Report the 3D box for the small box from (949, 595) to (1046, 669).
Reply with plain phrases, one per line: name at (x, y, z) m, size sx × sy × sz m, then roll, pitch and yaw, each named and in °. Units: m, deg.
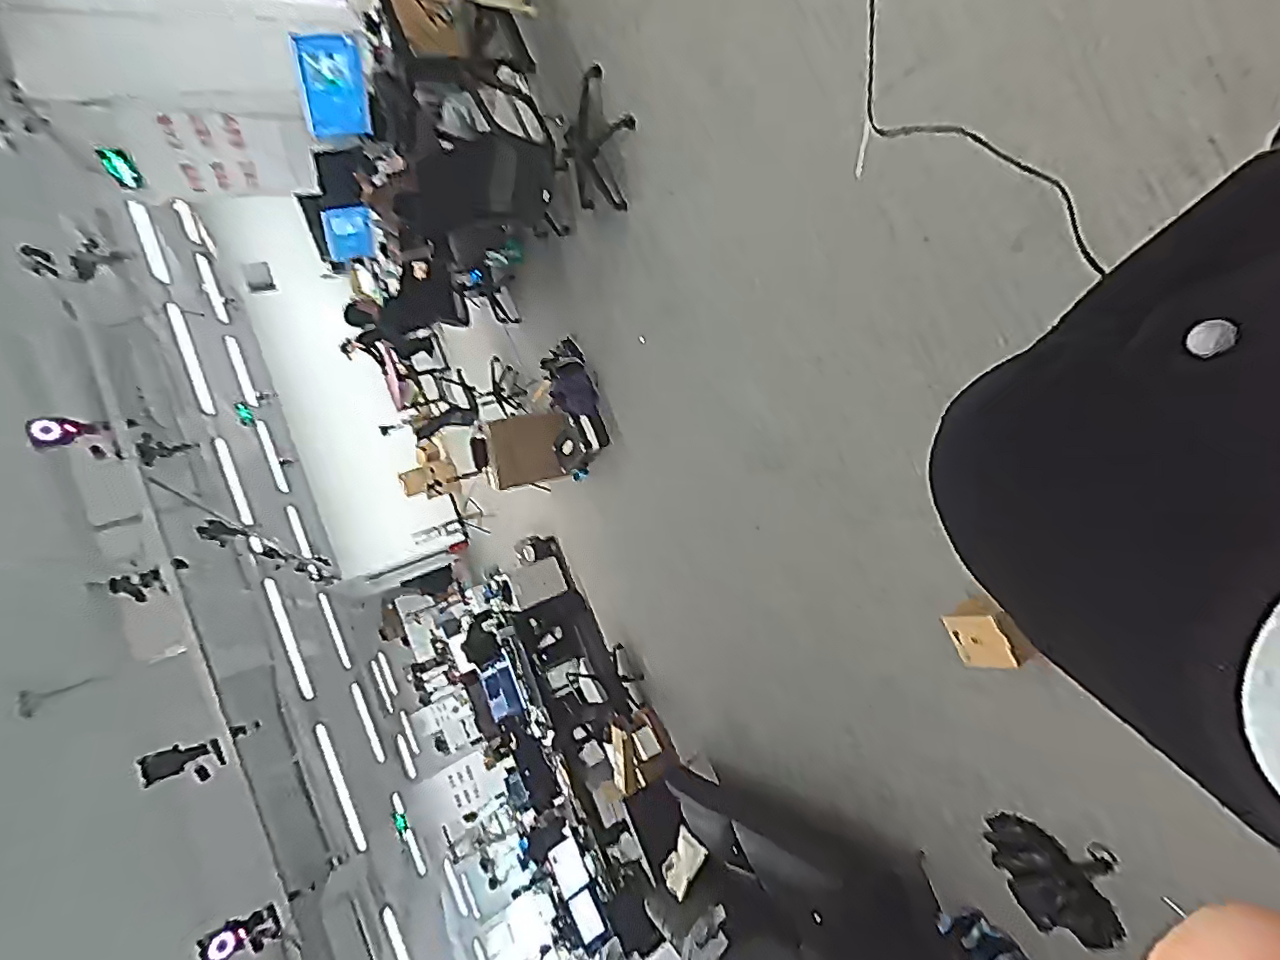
small box at (1.121, 0.470, 1.686) m, size 0.168 × 0.176 × 0.179 m, roll 65°, pitch 154°, yaw 6°
